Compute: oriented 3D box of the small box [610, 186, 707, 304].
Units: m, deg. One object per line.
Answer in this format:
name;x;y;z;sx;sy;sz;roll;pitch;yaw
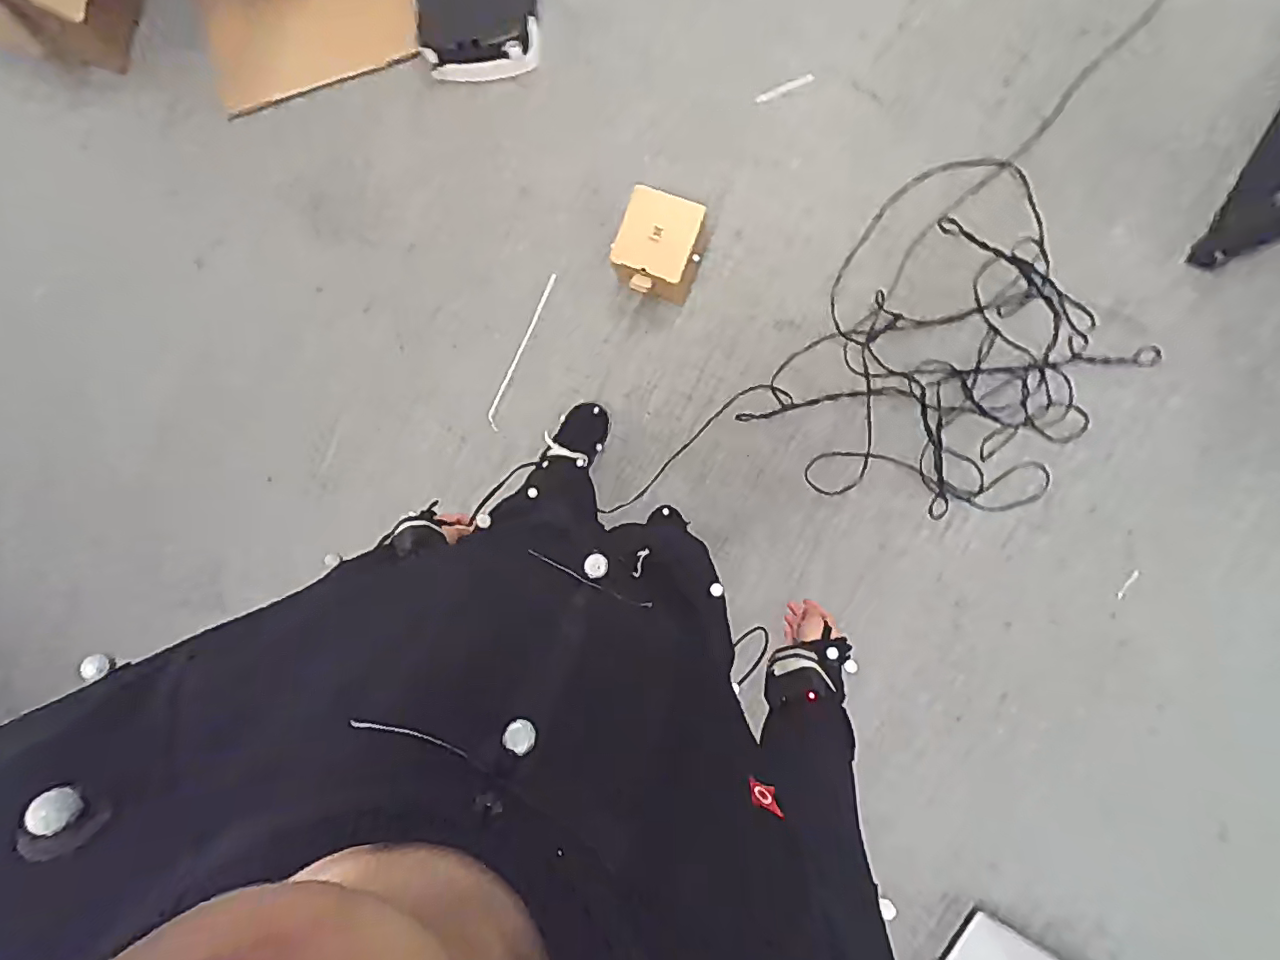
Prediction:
small box;0.045;-0.534;1.249;0.168;0.176;0.179;21;96;6
